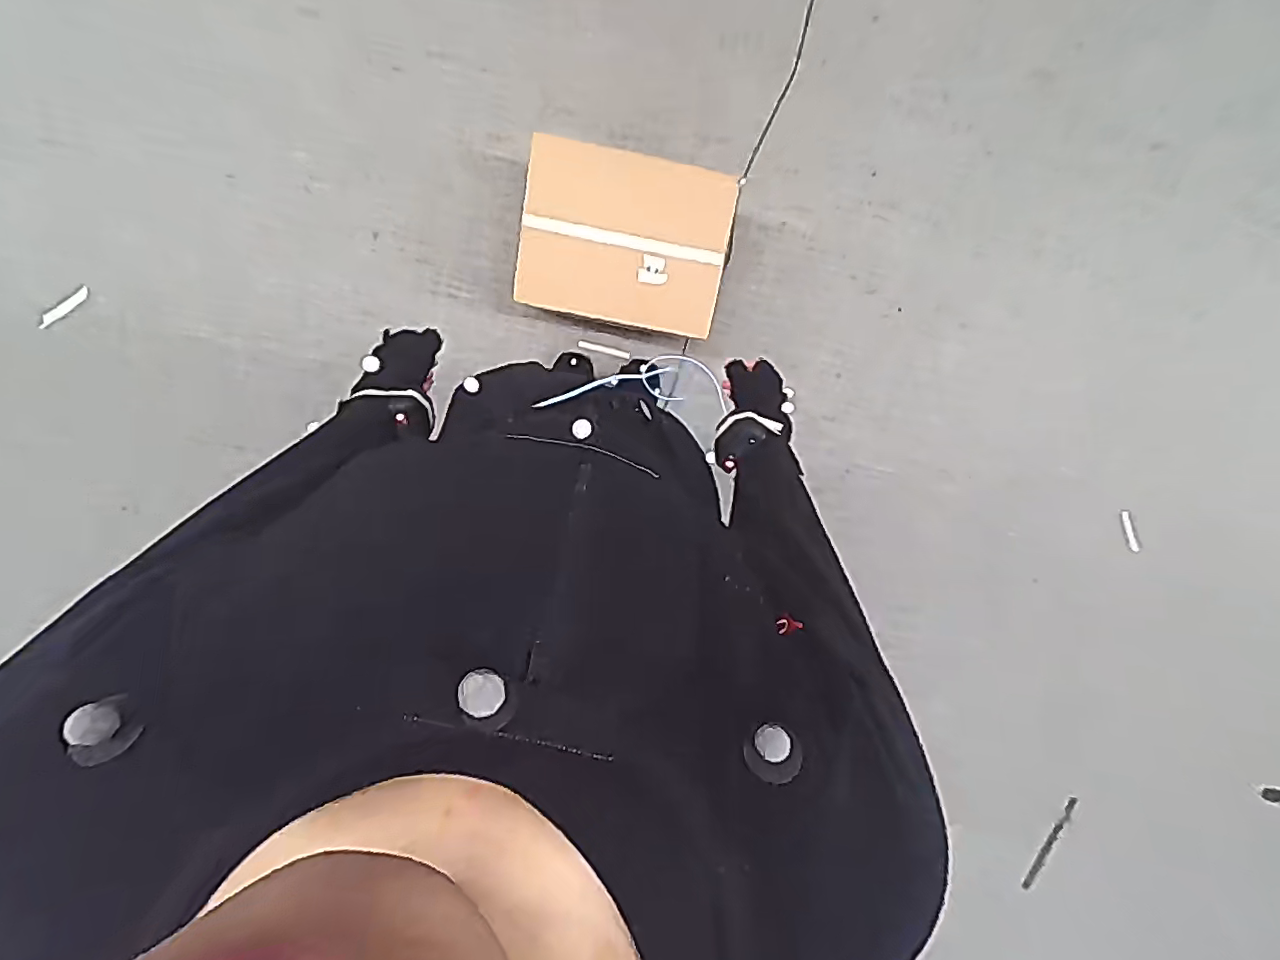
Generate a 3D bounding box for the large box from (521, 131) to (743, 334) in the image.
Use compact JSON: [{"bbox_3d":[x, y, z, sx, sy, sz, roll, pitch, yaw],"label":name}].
[{"bbox_3d":[-0.028,-0.520,1.215,0.408,0.320,0.320,10,105,-5],"label":"large box"}]
